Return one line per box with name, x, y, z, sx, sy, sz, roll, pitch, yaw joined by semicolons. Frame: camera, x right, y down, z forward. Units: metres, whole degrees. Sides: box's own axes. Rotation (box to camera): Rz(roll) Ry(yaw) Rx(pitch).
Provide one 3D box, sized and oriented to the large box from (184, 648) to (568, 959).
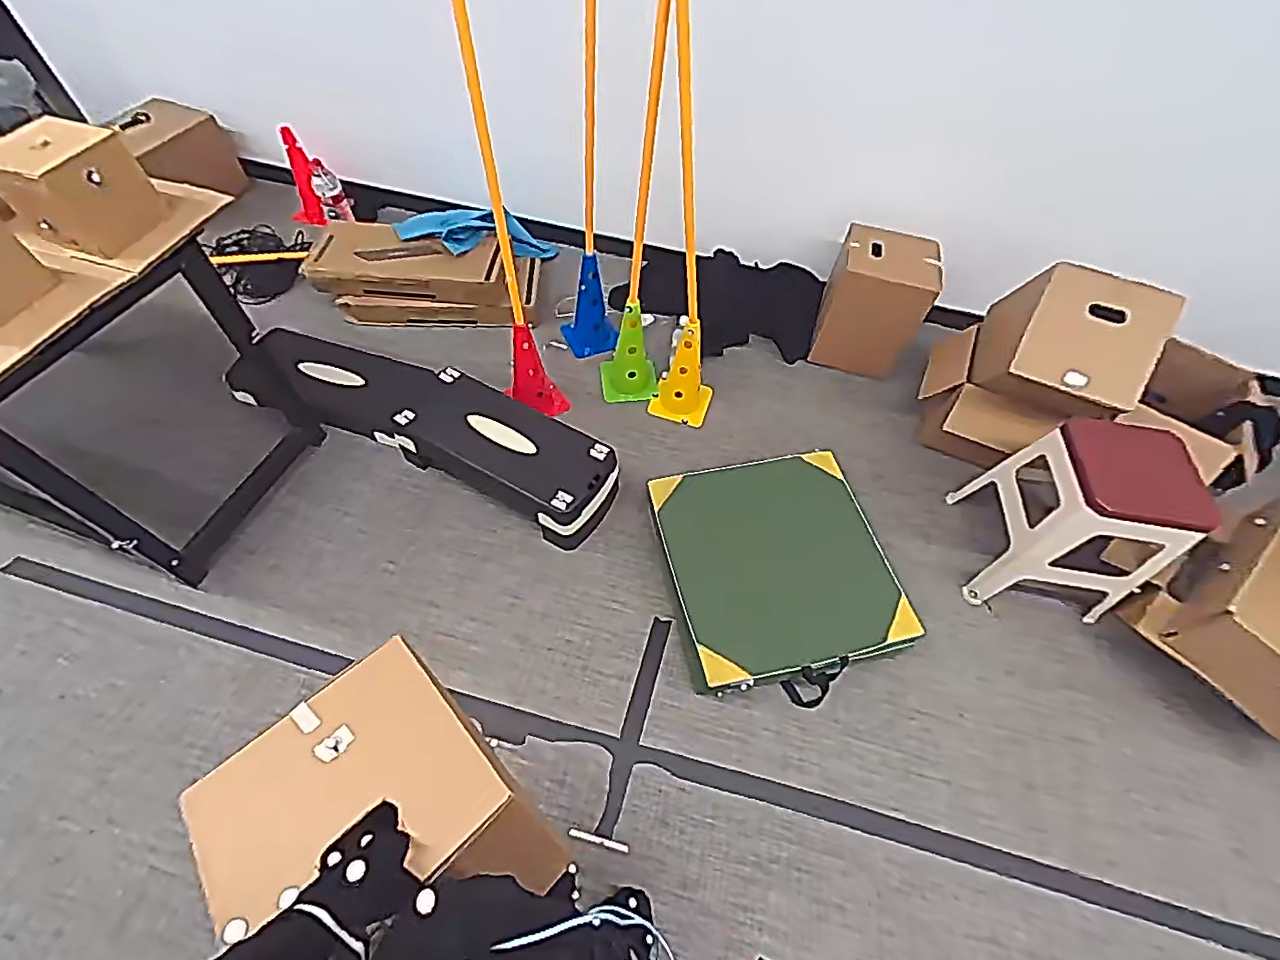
large box;-0.358;0.533;0.815;0.320;0.408;0.320;-37;53;-25
